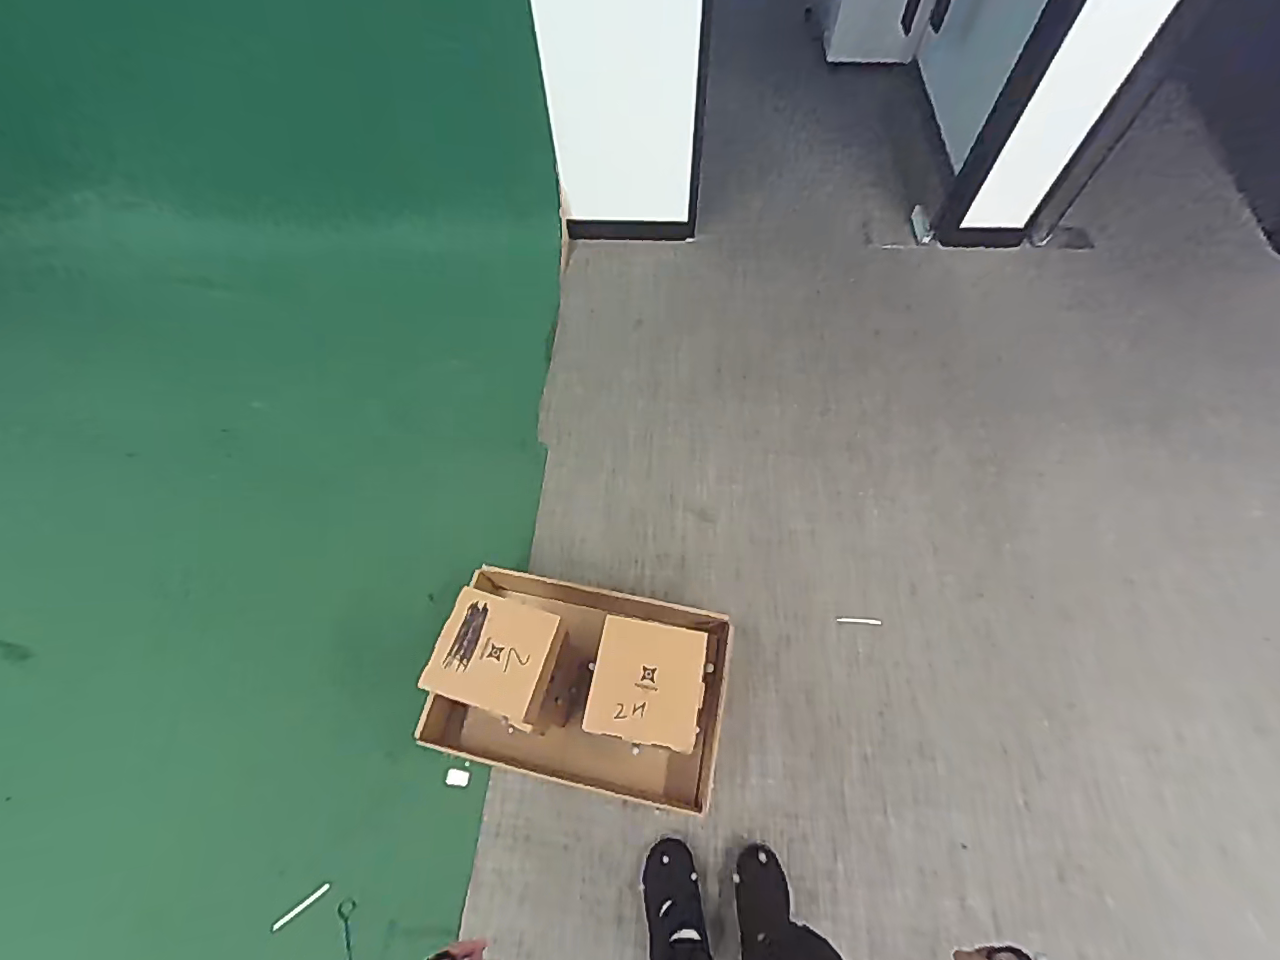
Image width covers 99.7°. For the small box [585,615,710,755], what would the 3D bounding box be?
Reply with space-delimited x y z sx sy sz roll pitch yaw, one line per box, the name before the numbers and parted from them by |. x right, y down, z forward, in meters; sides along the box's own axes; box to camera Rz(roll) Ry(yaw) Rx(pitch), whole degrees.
small box | 0.016 0.341 0.891 0.168 0.176 0.179 8 64 7
